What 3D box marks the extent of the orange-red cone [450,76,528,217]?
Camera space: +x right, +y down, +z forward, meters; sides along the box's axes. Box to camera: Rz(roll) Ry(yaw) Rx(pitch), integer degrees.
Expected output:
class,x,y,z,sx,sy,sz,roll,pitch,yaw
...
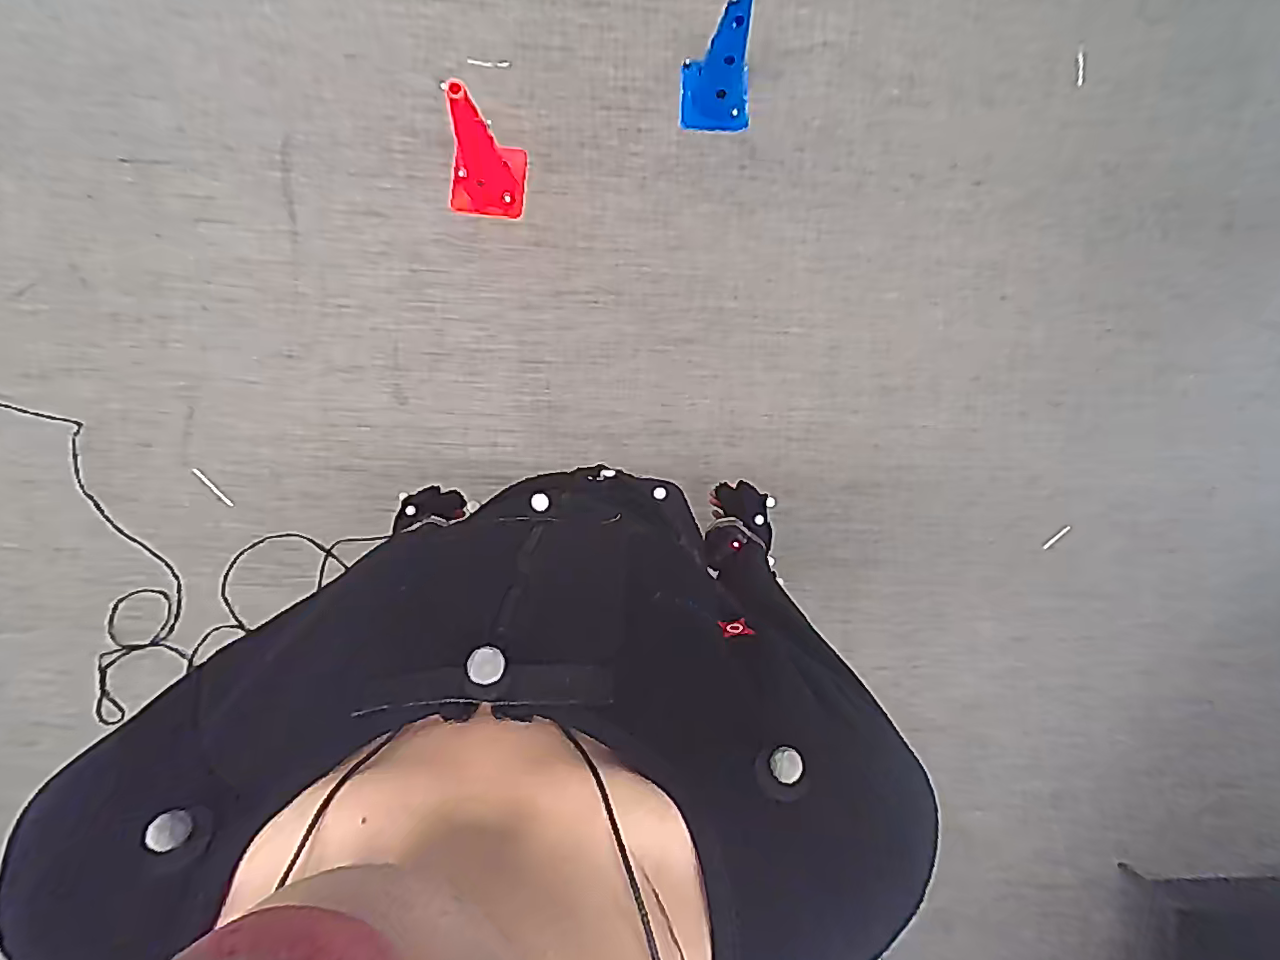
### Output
class,x,y,z,sx,sy,sz,roll,pitch,yaw
orange-red cone,-0.404,-0.843,1.329,0.198,0.360,0.199,6,88,-4
